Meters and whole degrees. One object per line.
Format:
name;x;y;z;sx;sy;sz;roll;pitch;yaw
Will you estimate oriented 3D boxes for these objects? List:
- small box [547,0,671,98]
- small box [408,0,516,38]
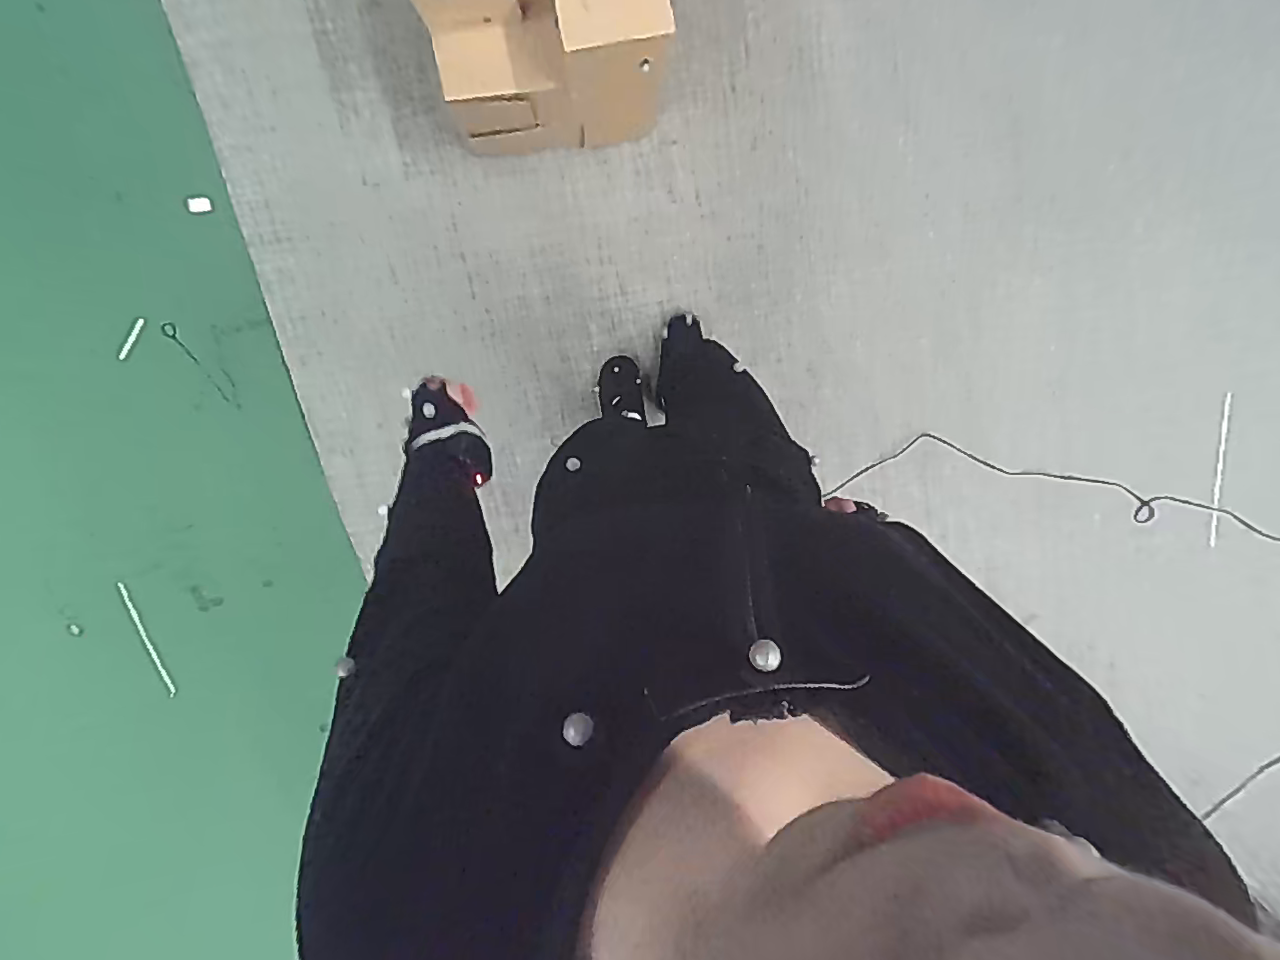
small box;-0.057;-0.758;0.877;0.179;0.176;0.168;-11;105;-1
small box;-0.300;-0.841;0.840;0.168;0.176;0.179;-9;104;-1
